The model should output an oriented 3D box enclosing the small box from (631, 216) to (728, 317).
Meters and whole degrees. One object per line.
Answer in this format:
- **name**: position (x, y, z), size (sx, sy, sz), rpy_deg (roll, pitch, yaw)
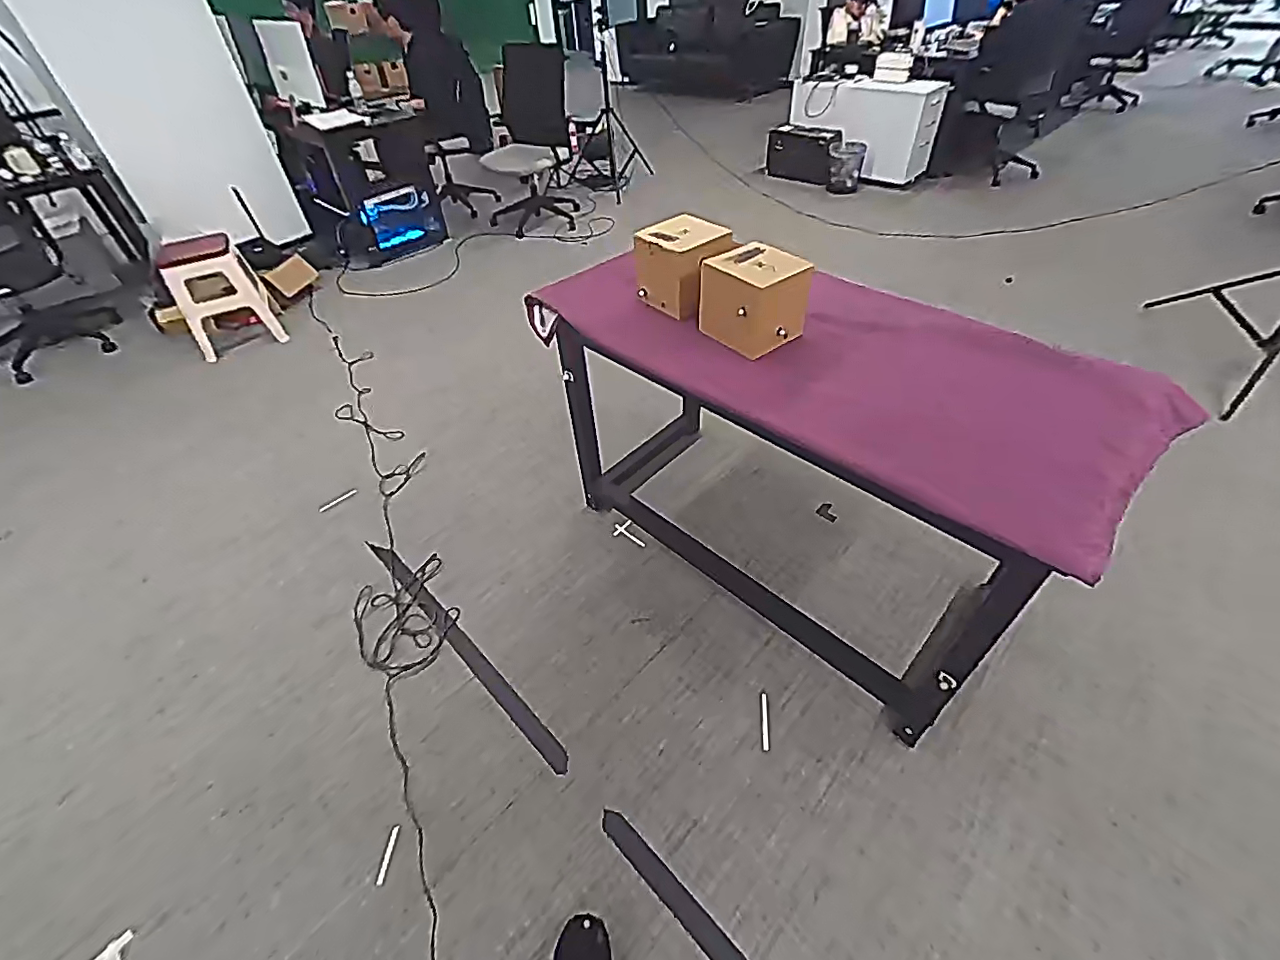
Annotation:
- **small box**: position (0.100, -0.529, 1.345), size (0.179, 0.176, 0.168), rpy_deg (-32, 52, -25)
